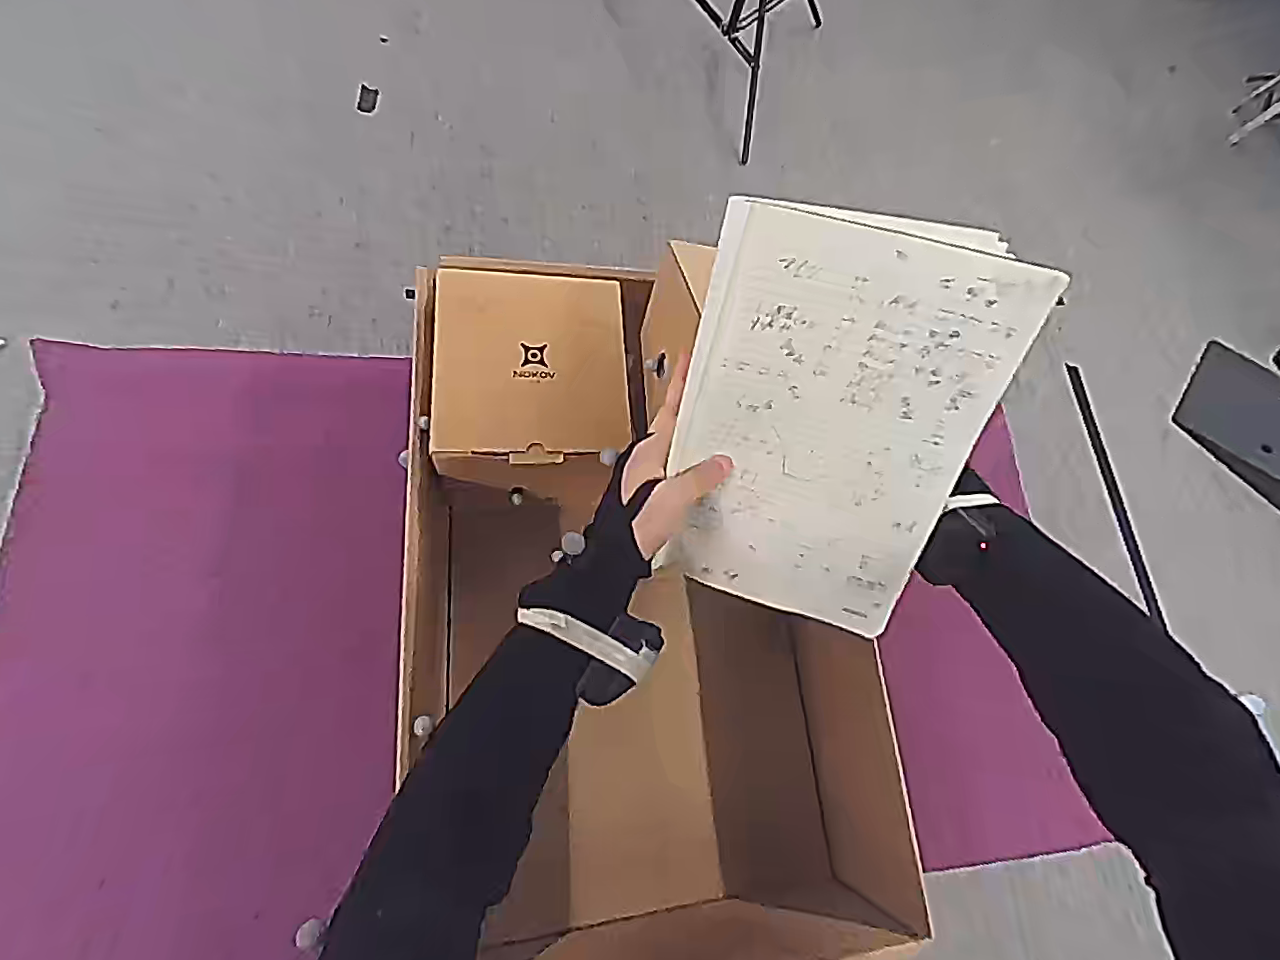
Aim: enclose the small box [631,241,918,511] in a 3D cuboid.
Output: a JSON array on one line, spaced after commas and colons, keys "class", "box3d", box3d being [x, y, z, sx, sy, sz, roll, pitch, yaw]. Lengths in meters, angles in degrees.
[{"class": "small box", "box3d": [0.097, -0.085, 0.486, 0.168, 0.176, 0.179, 1, 48, -16]}]
